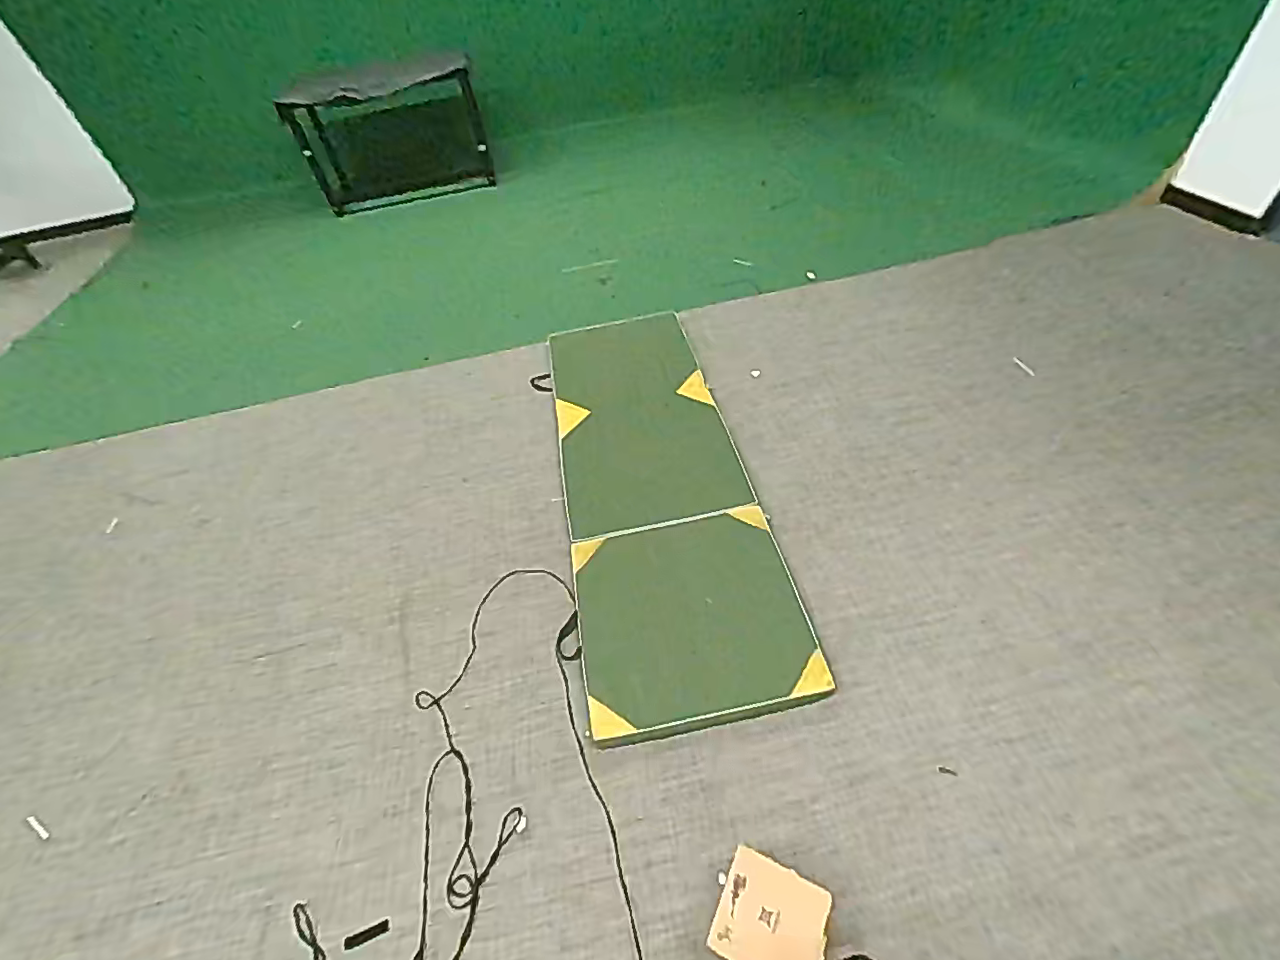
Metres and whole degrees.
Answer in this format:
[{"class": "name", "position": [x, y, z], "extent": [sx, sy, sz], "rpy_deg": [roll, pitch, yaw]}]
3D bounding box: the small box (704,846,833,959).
[{"class": "small box", "position": [0.229, 0.808, 0.982], "extent": [0.179, 0.176, 0.168], "rpy_deg": [18, 52, 22]}]
